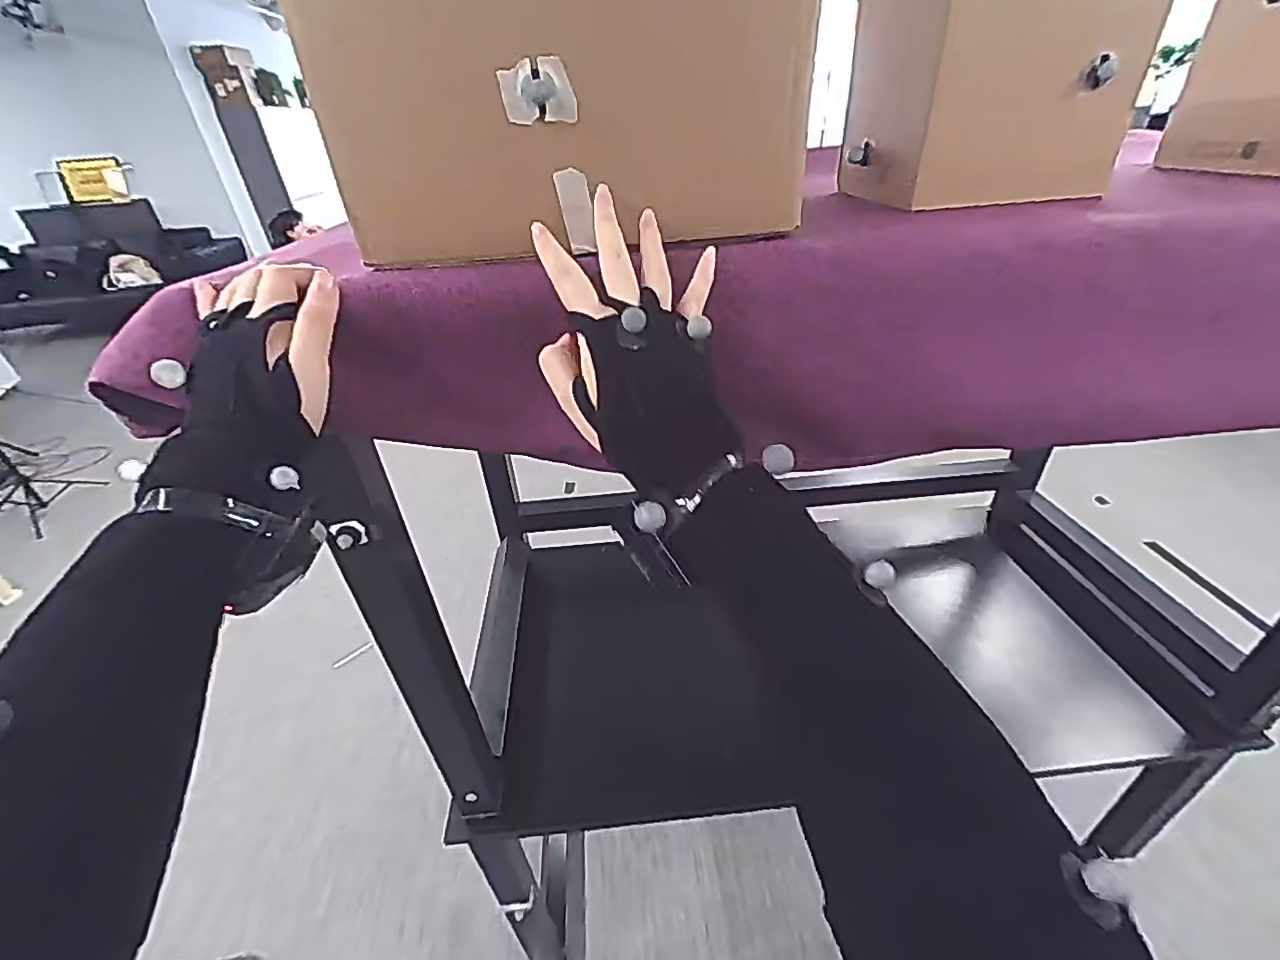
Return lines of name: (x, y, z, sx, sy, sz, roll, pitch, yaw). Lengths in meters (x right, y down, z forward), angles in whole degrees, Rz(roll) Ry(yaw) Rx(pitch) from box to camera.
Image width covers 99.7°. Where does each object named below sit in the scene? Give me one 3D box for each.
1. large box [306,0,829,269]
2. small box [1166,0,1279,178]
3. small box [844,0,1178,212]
large box: (-0.062, -0.388, 0.461, 0.320, 0.320, 0.408, -6, 33, -4)
small box: (0.660, -0.382, 0.494, 0.179, 0.176, 0.168, -4, 32, -1)
small box: (0.306, -0.348, 0.485, 0.179, 0.176, 0.168, -5, 33, -2)
